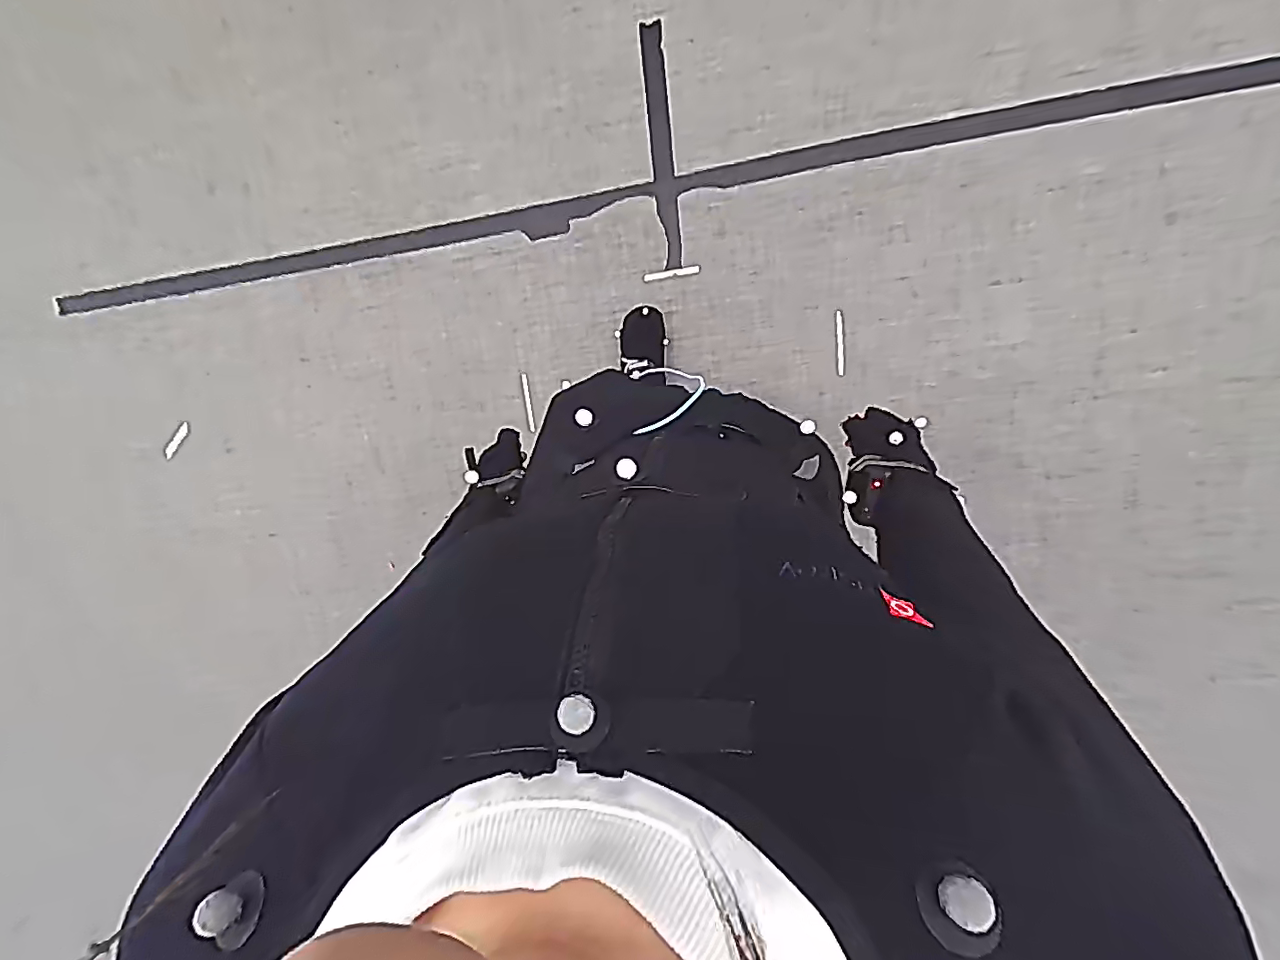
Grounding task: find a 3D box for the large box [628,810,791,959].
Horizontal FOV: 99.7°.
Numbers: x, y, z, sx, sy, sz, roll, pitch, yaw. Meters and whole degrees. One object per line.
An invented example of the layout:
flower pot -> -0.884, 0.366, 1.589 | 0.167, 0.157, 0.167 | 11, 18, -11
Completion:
large box -> 0.202, 1.212, 1.558 | 0.408, 0.320, 0.320 | -9, 103, 8
